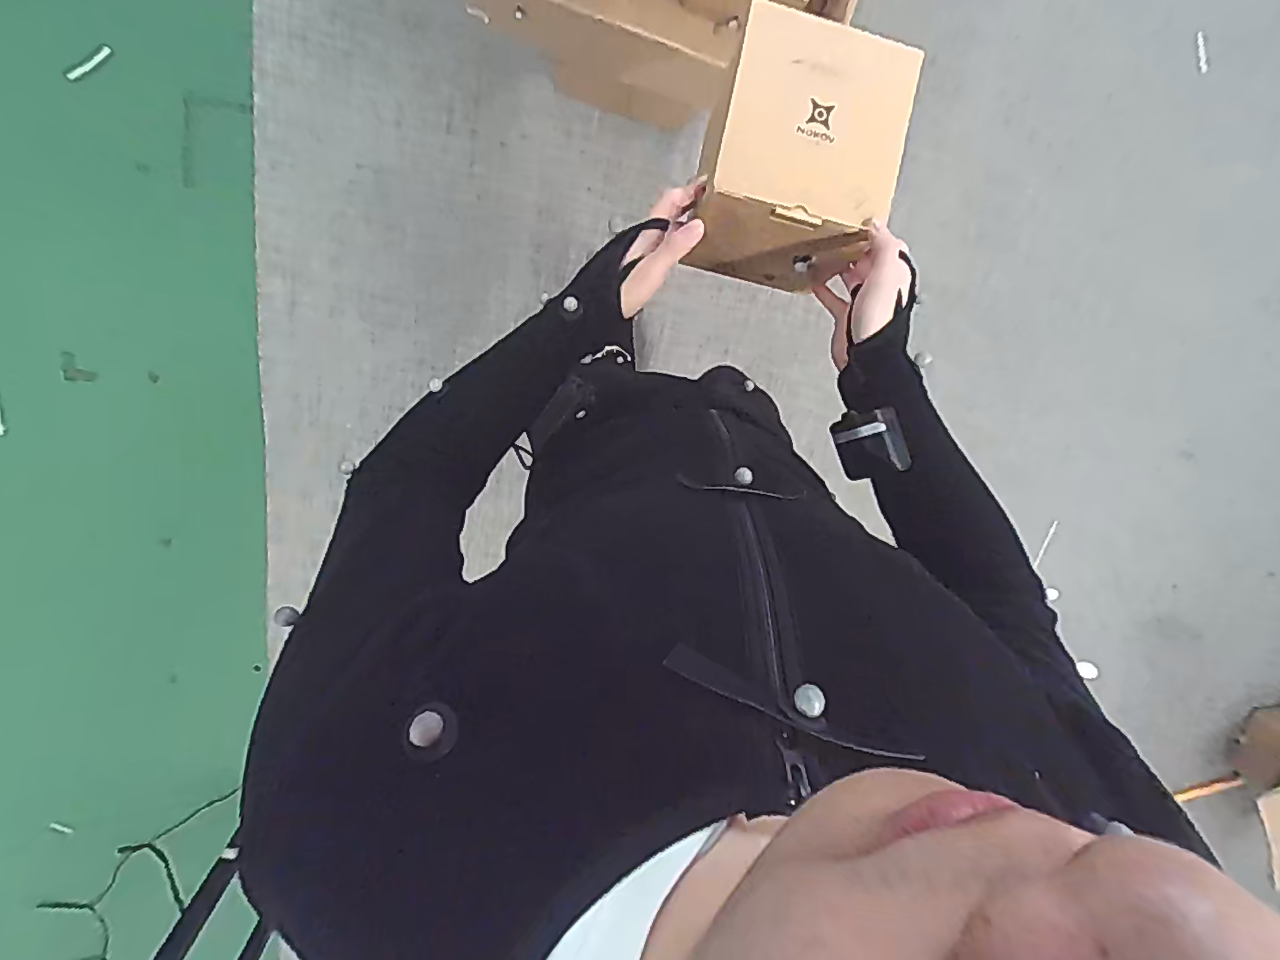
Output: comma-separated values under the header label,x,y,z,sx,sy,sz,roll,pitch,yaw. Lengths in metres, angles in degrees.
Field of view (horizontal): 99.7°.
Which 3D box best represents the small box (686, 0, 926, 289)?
label,x,y,z,sx,sy,sz,roll,pitch,yaw
small box,0.152,-0.321,0.558,0.168,0.176,0.179,14,89,-6
